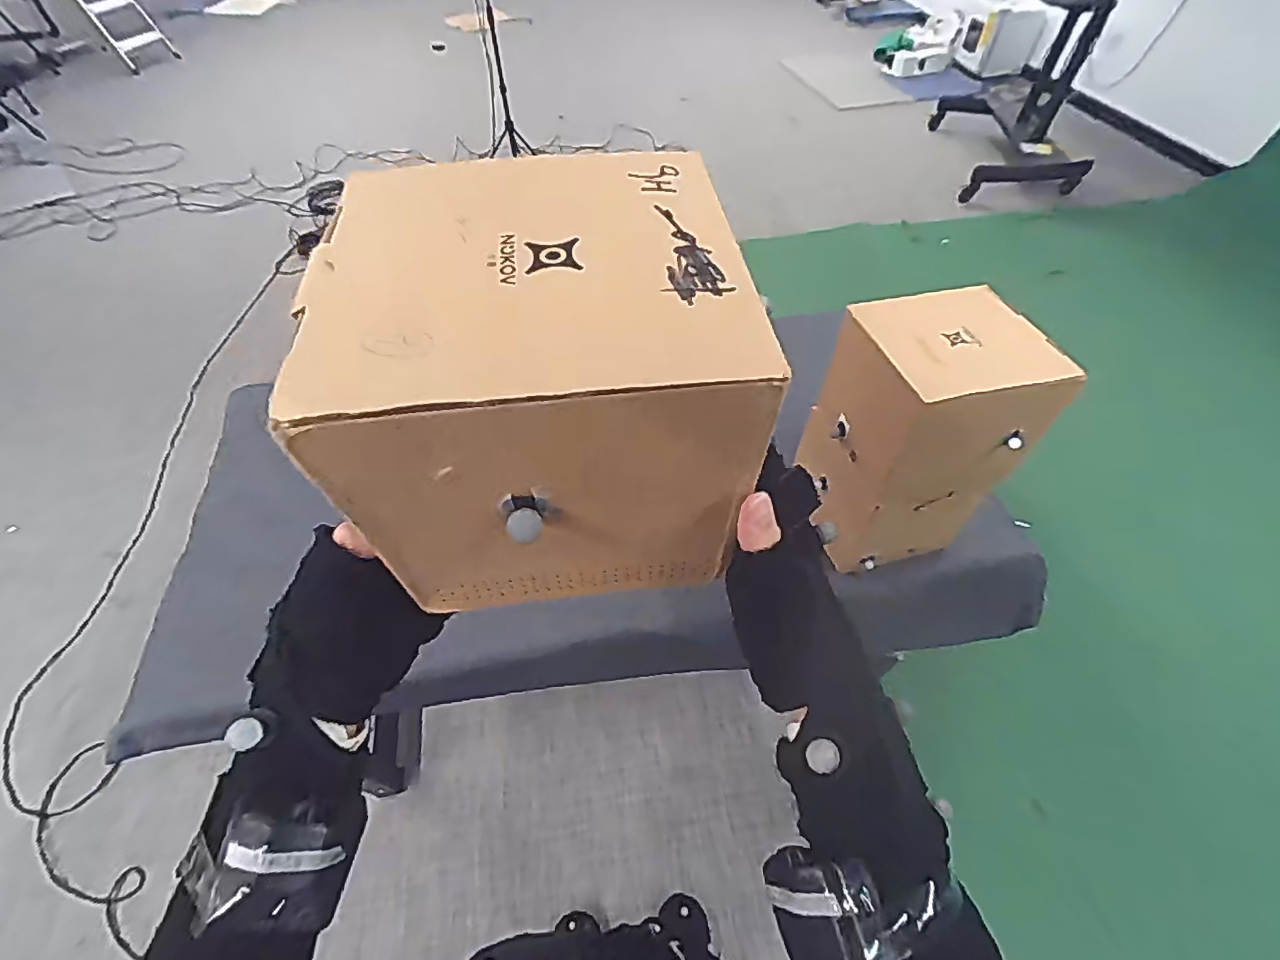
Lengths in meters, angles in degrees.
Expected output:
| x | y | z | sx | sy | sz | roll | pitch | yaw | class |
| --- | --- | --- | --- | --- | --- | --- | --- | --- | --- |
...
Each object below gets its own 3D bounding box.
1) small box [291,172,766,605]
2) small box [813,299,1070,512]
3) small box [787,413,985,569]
| x | y | z | sx | sy | sz | roll | pitch | yaw | class |
| --- | --- | --- | --- | --- | --- | --- | --- | --- | --- |
| -0.046 | -0.042 | 0.304 | 0.179 | 0.176 | 0.168 | -7 | 56 | -4 | small box |
| 0.329 | -0.084 | 0.636 | 0.179 | 0.176 | 0.168 | -11 | 50 | -6 | small box |
| 0.330 | 0.010 | 0.768 | 0.168 | 0.176 | 0.179 | -12 | 51 | -9 | small box |
